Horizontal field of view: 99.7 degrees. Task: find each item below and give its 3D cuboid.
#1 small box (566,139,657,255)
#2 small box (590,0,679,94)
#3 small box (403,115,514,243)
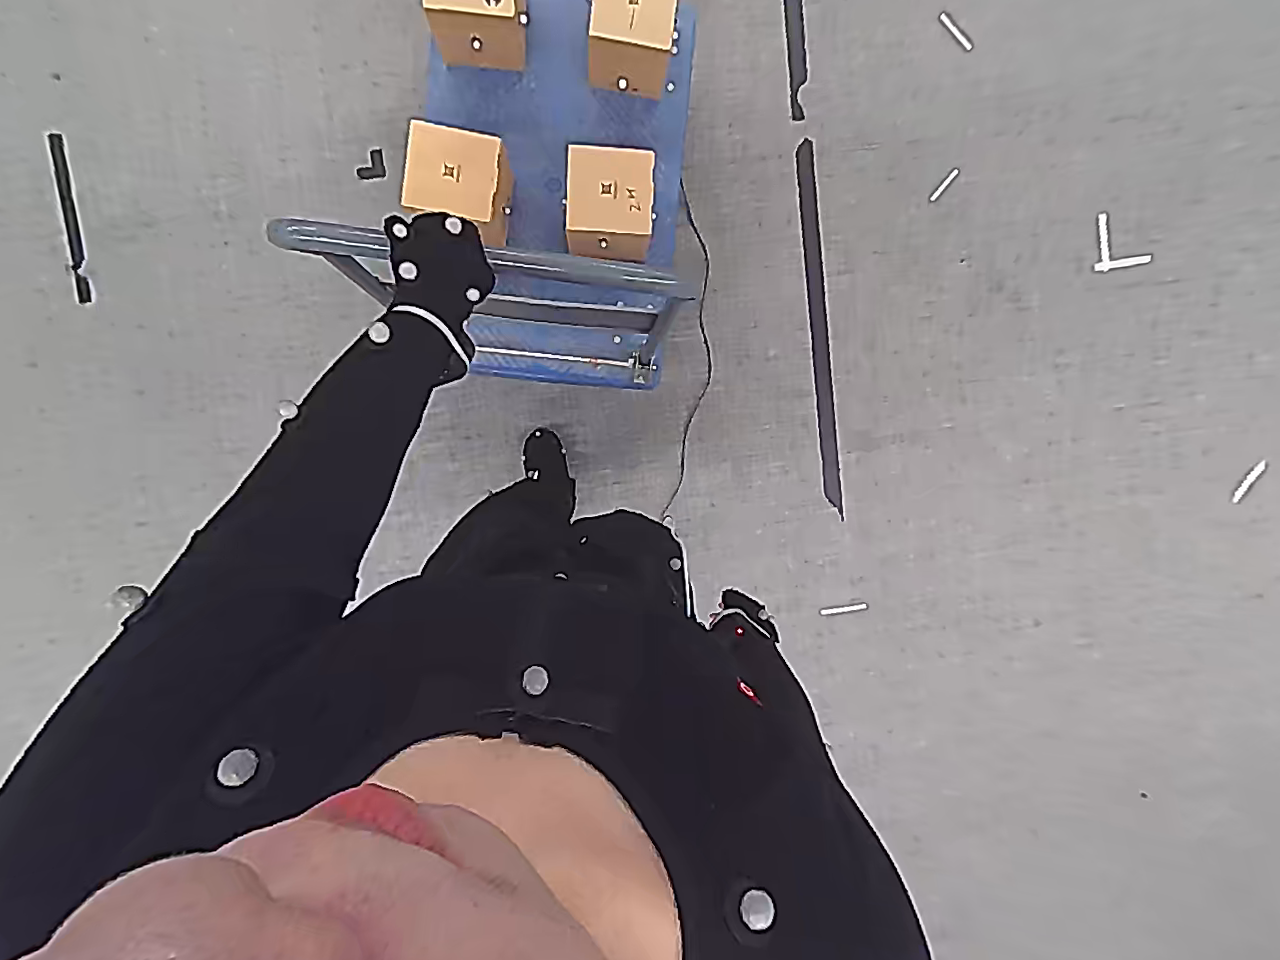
[{"bbox_3d":[-0.063,-0.594,1.156,0.179,0.176,0.168,2,95,-5],"label":"small box"},{"bbox_3d":[-0.013,-0.958,1.126,0.168,0.176,0.179,7,96,-6],"label":"small box"},{"bbox_3d":[-0.371,-0.615,1.128,0.179,0.176,0.168,8,94,-8],"label":"small box"}]
